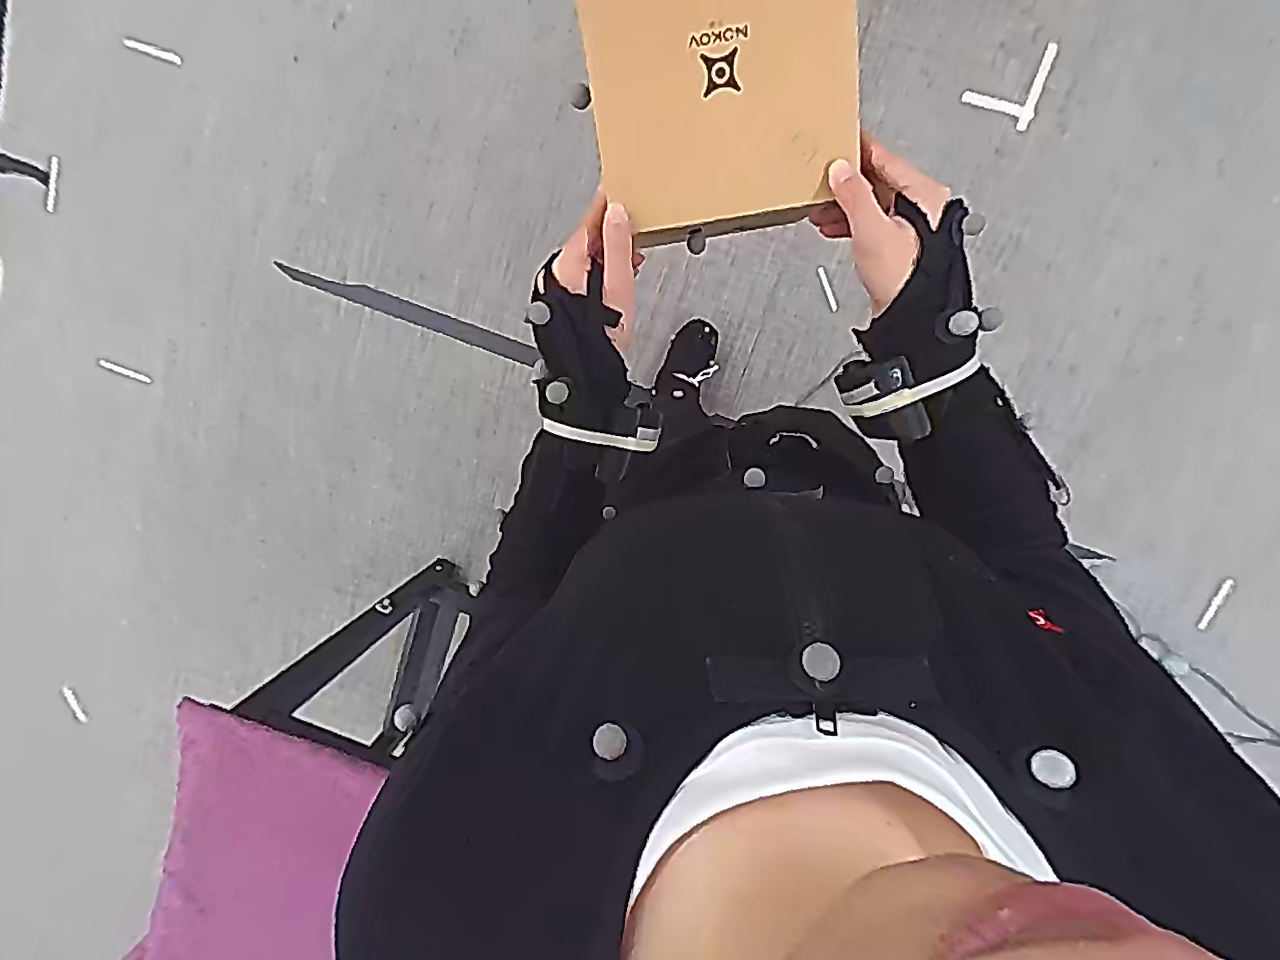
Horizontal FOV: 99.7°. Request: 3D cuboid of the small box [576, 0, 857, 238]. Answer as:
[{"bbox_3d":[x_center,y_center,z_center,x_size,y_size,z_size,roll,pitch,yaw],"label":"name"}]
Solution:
[{"bbox_3d":[0.053,-0.286,0.403,0.168,0.176,0.179,-7,108,6],"label":"small box"}]
